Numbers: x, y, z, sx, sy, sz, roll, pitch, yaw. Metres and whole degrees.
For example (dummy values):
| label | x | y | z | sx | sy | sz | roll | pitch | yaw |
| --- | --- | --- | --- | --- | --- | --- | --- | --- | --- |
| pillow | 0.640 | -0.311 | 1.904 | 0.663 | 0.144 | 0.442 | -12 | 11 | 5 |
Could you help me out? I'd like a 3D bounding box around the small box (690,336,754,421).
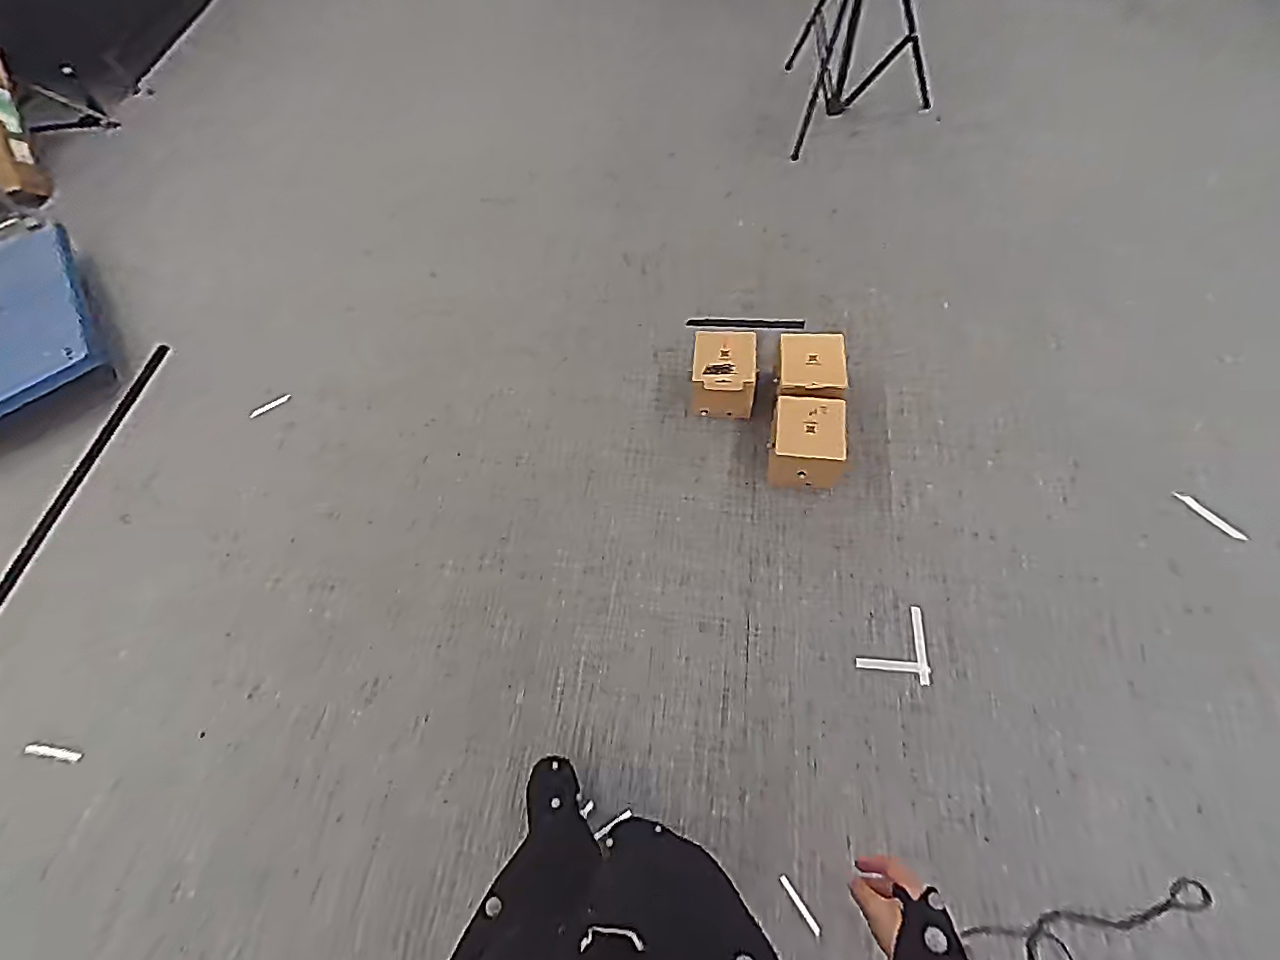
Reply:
| label | x | y | z | sx | sy | sz | roll | pitch | yaw |
| --- | --- | --- | --- | --- | --- | --- | --- | --- | --- |
| small box | 0.230 | -0.281 | 1.517 | 0.168 | 0.176 | 0.179 | 3 | 63 | 7 |
